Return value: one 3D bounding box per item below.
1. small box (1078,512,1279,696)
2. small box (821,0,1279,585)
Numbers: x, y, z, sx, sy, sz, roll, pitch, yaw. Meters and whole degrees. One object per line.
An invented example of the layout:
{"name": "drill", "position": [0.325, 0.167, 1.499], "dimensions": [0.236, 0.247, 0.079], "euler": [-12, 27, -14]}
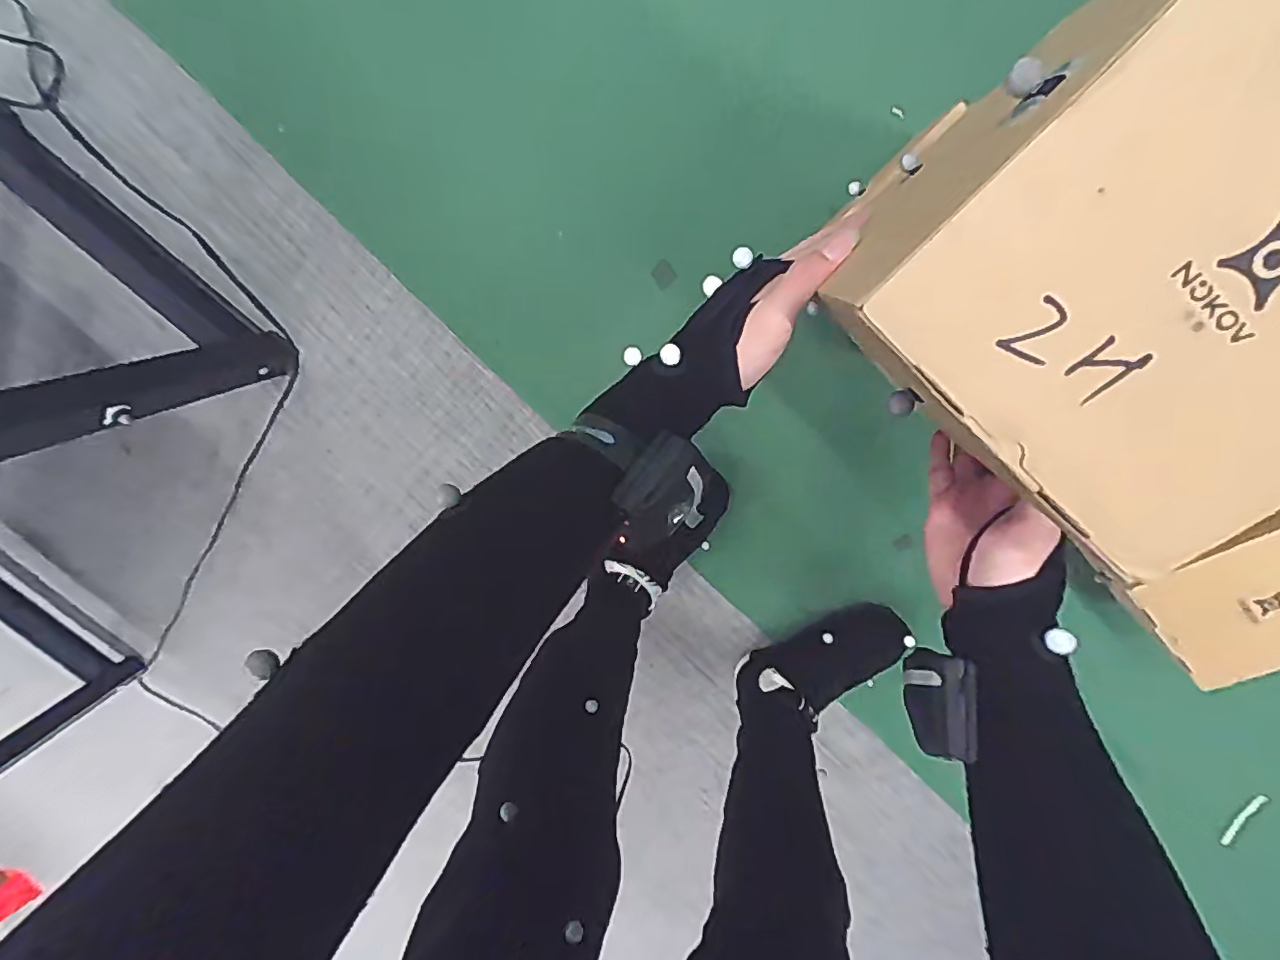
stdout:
{"name": "small box", "position": [0.635, 0.096, 0.604], "dimensions": [0.179, 0.176, 0.168], "euler": [-38, 101, 28]}
{"name": "small box", "position": [0.209, -0.095, 0.249], "dimensions": [0.168, 0.176, 0.179], "euler": [42, 113, -7]}
